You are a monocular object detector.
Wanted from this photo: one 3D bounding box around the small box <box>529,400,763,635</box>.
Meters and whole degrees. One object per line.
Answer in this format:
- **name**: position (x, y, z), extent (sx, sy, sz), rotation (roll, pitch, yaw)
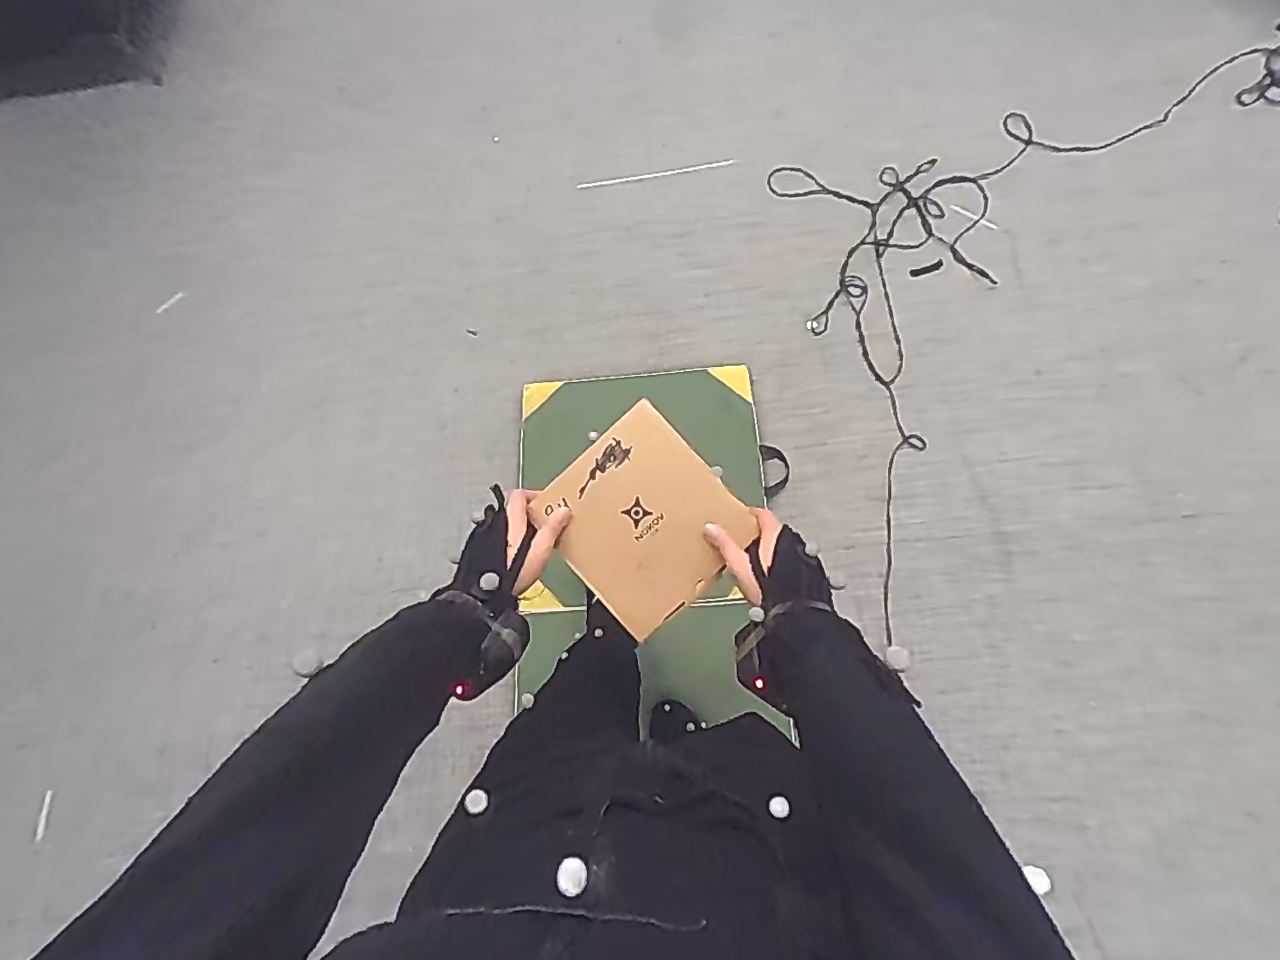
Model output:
- **small box**: position (0.011, 0.037, 0.608), extent (0.168, 0.176, 0.179), rotation (-42, 86, 2)
